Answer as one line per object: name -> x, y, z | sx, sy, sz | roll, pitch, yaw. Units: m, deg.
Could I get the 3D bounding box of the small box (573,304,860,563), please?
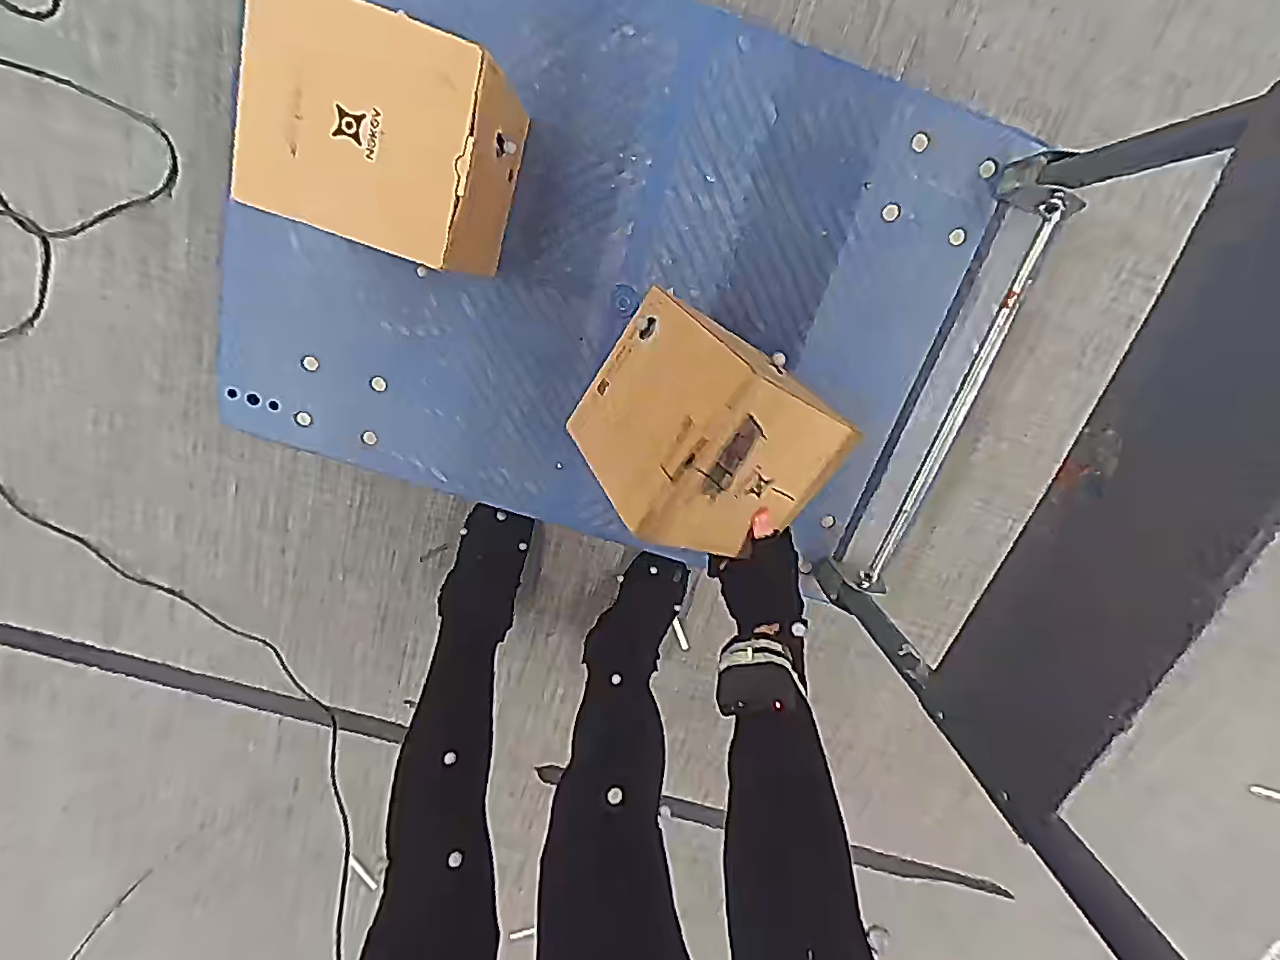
small box -> 0.064, -0.044, 0.521 | 0.179, 0.176, 0.168 | 16, 119, -43

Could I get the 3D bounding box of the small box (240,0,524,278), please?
small box -> -0.220, -0.295, 0.502 | 0.179, 0.176, 0.168 | 17, 106, -5
